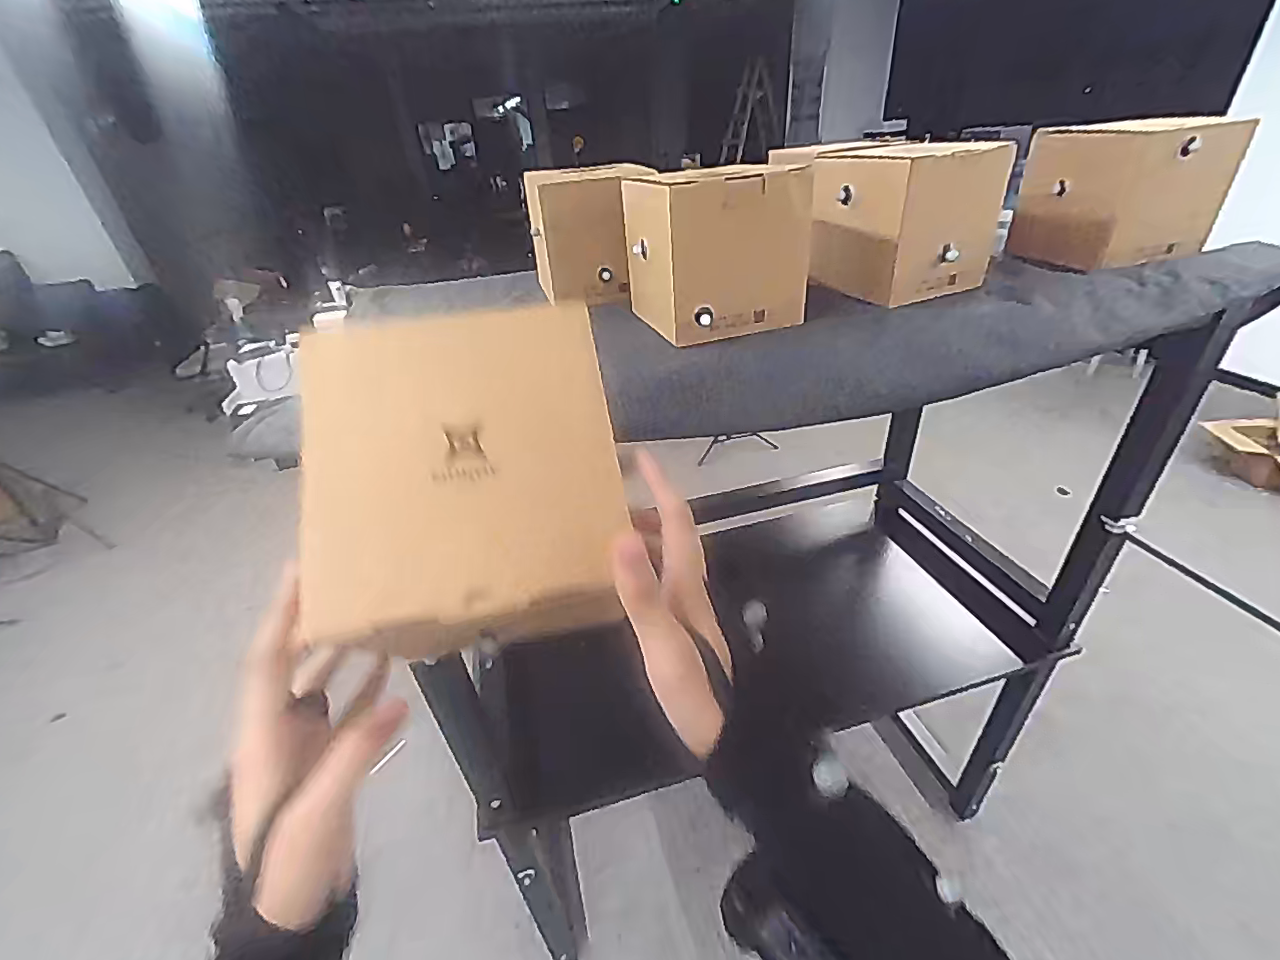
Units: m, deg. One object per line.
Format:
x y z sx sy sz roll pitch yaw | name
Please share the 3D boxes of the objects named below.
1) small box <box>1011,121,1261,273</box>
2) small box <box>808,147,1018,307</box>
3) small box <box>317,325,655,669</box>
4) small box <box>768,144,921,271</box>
0.676 -0.400 0.768 0.168 0.176 0.179 -11 33 -7 | small box
0.347 -0.343 0.727 0.168 0.176 0.179 -17 35 -17 | small box
-0.097 0.022 0.369 0.168 0.176 0.179 -9 71 -10 | small box
0.331 -0.462 0.912 0.179 0.176 0.168 -11 33 -9 | small box
